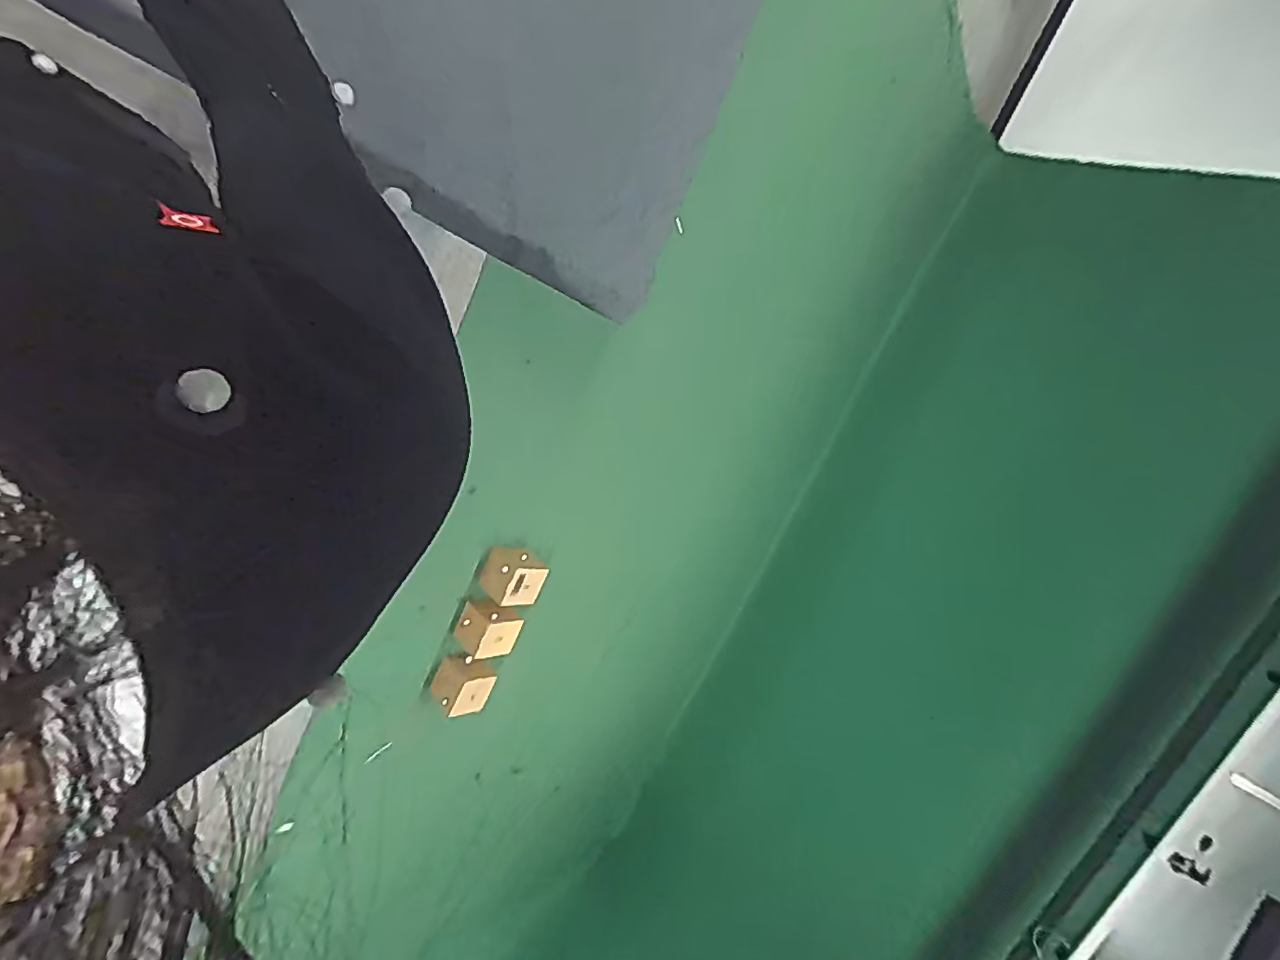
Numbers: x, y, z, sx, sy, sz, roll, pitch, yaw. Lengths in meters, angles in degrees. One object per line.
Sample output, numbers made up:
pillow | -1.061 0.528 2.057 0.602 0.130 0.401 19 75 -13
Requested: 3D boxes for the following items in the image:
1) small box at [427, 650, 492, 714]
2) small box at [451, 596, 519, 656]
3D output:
small box | -0.752 0.827 2.235 0.168 0.176 0.179 14 105 -54
small box | -0.631 0.583 2.192 0.179 0.176 0.168 11 108 -52
